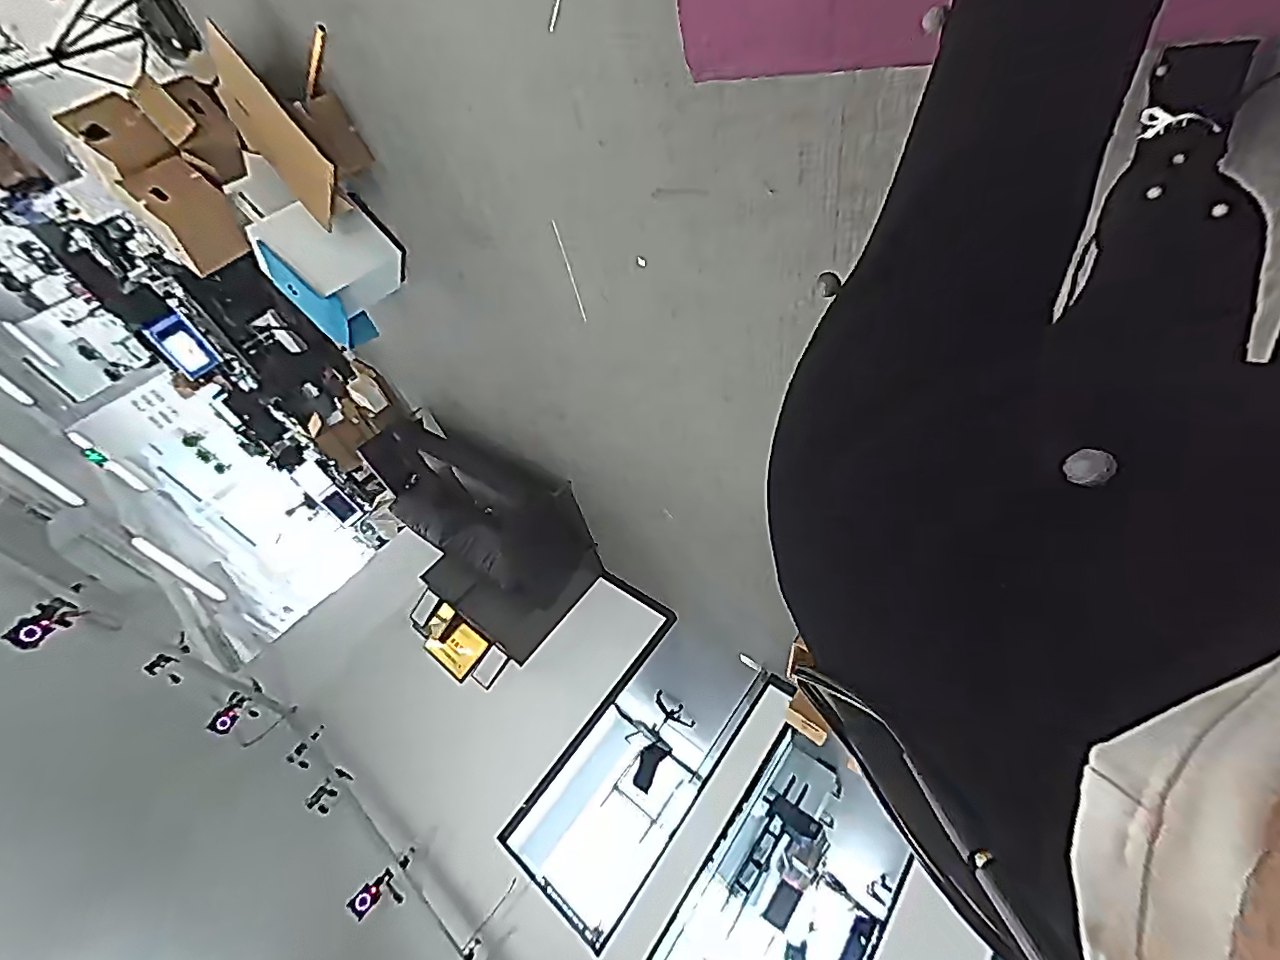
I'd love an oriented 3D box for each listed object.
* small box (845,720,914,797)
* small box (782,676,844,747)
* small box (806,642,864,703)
[{"bbox_3d":[0.880,1.021,1.987,0.168,0.176,0.179,28,150,29],"label":"small box"},{"bbox_3d":[0.674,0.896,2.102,0.168,0.176,0.179,30,151,27],"label":"small box"},{"bbox_3d":[0.778,0.790,2.173,0.168,0.176,0.179,29,150,28],"label":"small box"}]
